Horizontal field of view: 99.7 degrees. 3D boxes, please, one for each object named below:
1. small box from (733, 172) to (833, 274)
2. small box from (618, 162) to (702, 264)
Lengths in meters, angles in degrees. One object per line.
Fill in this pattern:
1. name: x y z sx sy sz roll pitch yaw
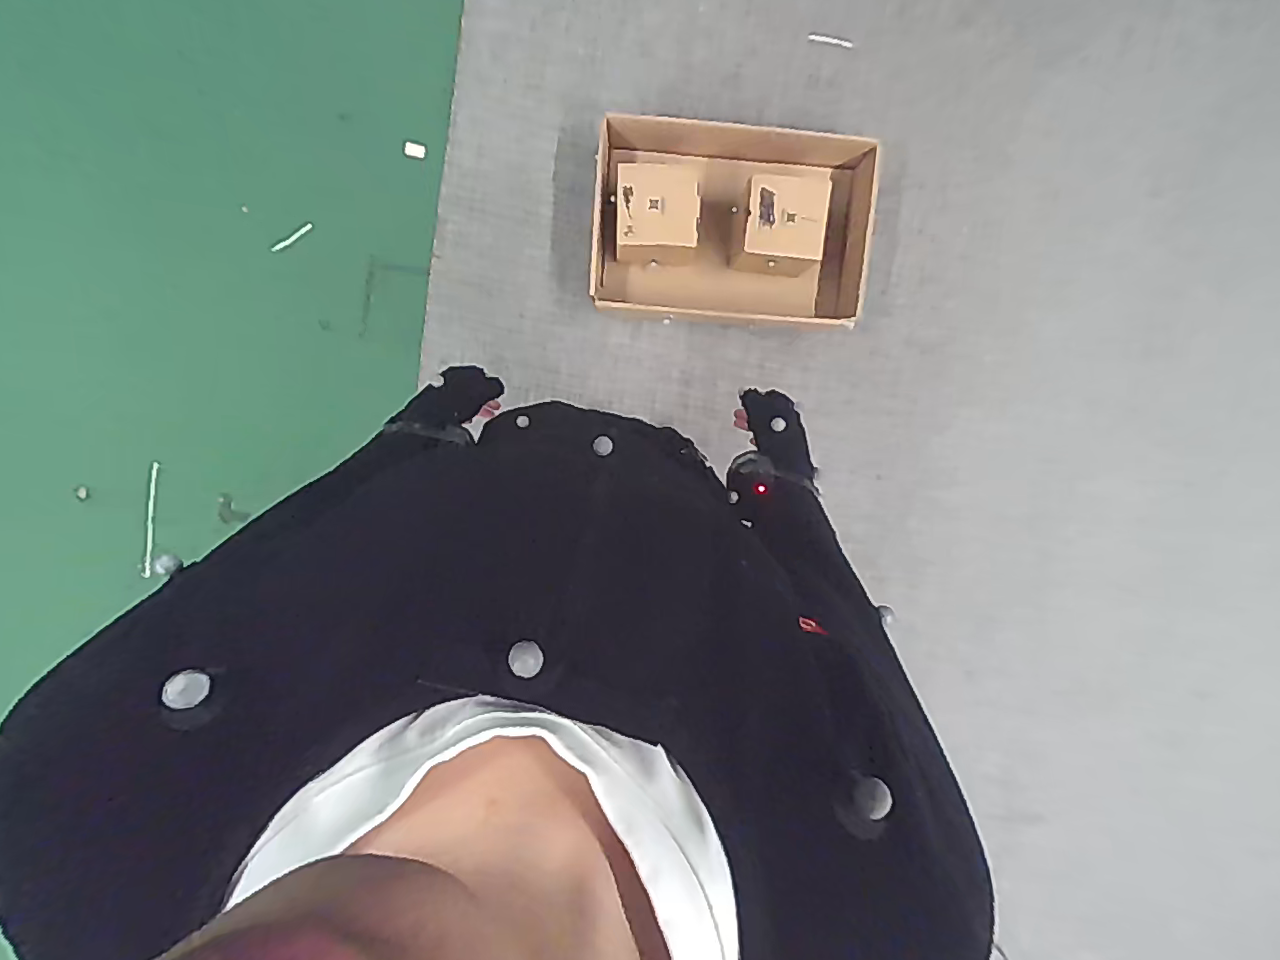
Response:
1. small box: 0.320 -0.583 1.247 0.179 0.176 0.168 6 99 -2
2. small box: 0.040 -0.601 1.237 0.179 0.176 0.168 1 98 -3
